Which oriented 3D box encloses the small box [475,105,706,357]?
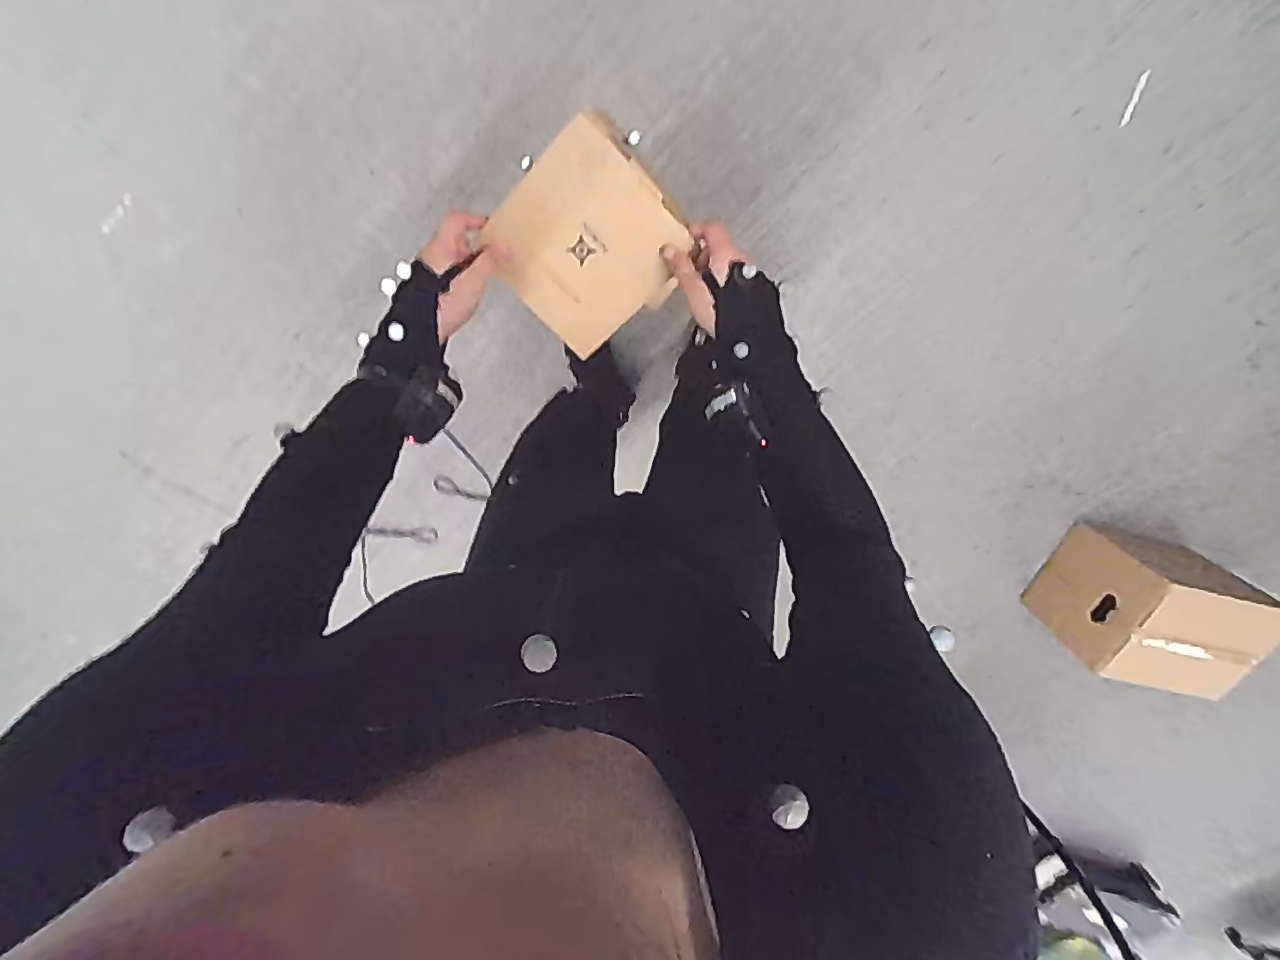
[{"bbox_3d":[-0.048,-0.277,0.604,0.179,0.176,0.168,-37,113,24],"label":"small box"}]
